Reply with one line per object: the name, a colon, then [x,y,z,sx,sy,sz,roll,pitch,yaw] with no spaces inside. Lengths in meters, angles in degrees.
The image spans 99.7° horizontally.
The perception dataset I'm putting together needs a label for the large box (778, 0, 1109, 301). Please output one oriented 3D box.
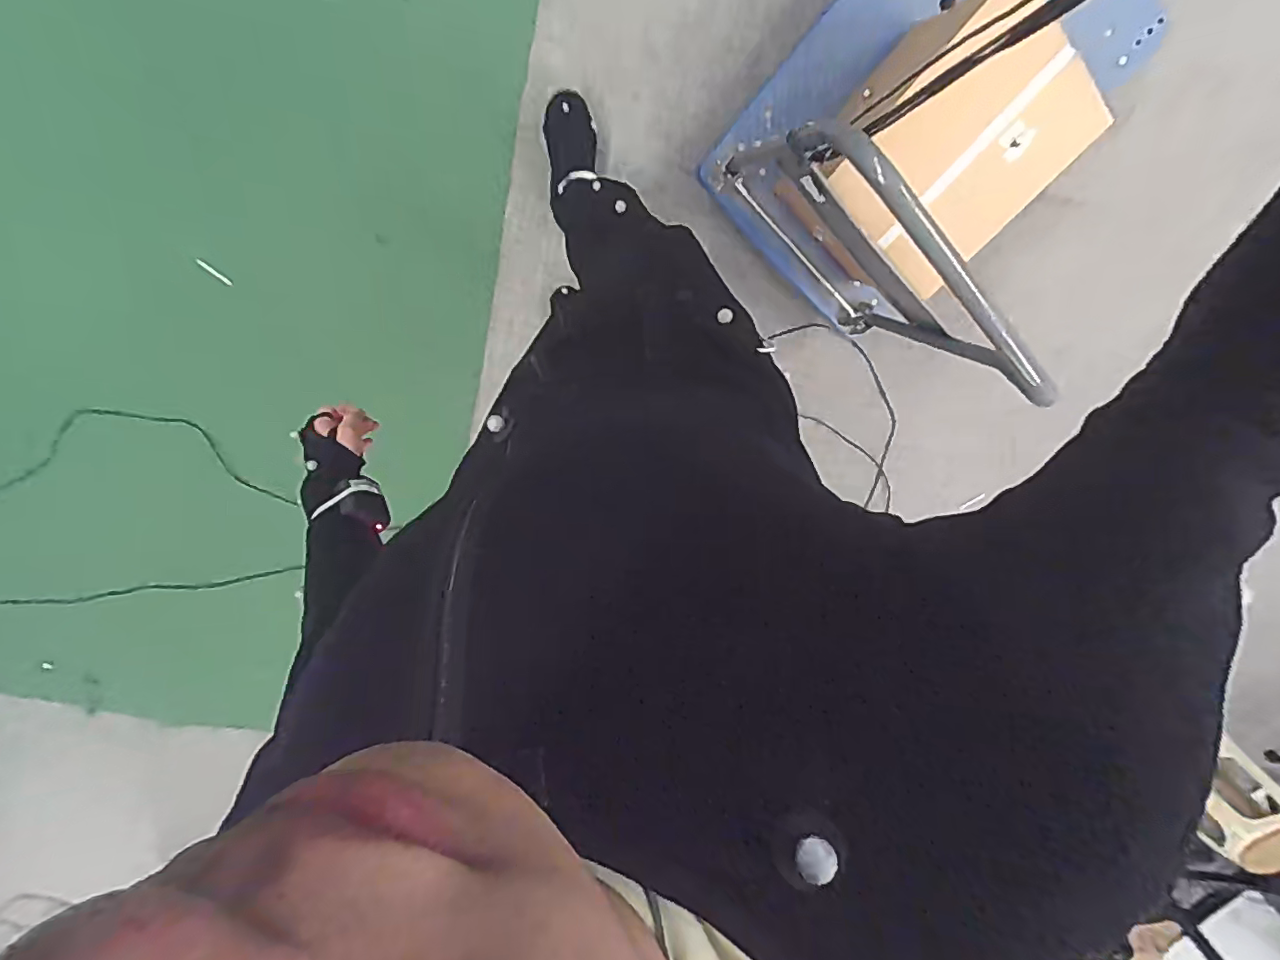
large box: [0.550,-0.629,1.063,0.320,0.320,0.408,37,109,-21]
